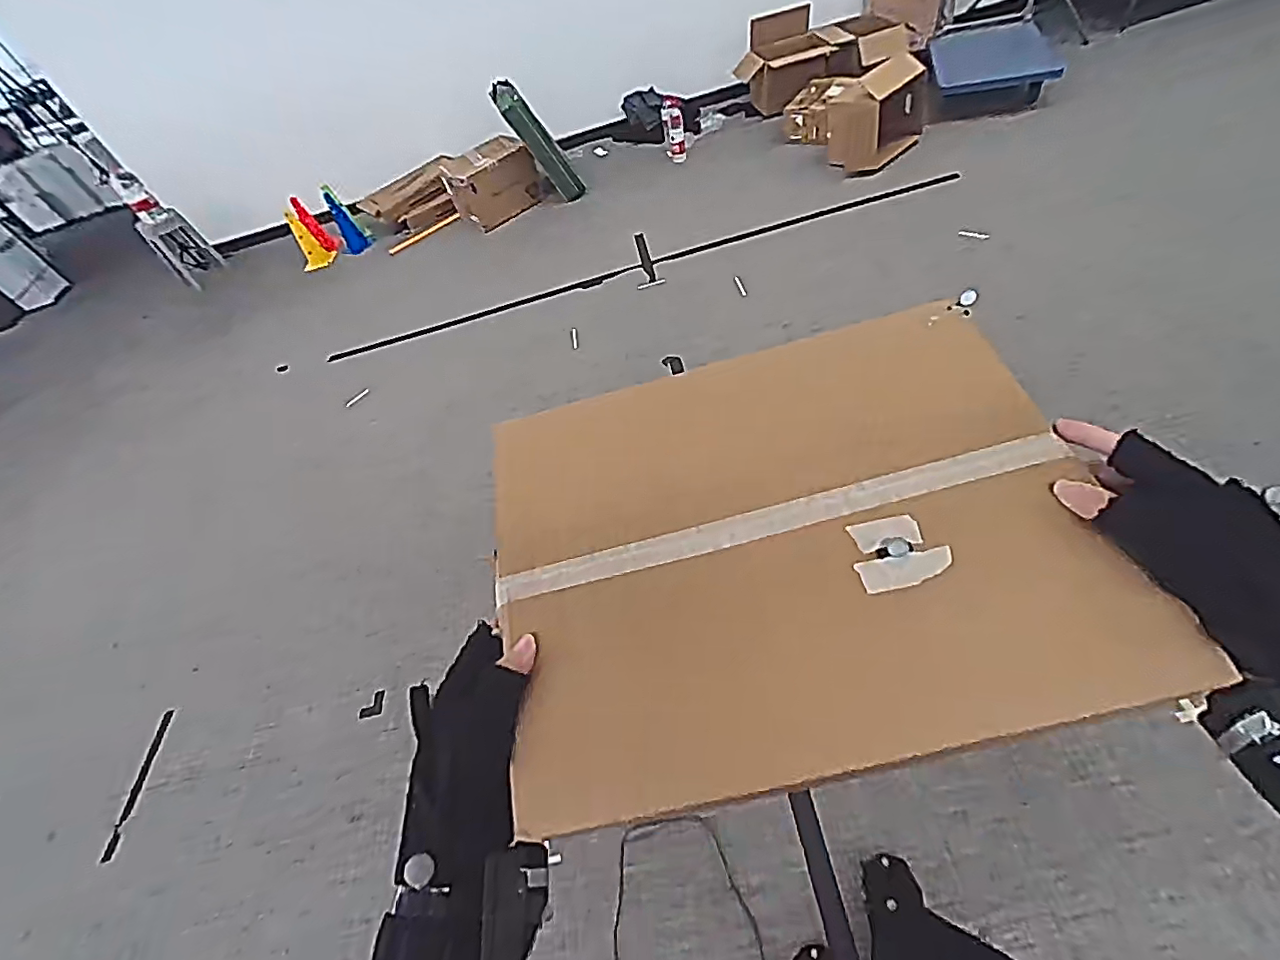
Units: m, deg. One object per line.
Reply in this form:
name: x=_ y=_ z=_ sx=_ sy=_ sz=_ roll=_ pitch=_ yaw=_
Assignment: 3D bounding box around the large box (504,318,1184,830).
large box: x=0.122 y=0.111 z=0.524 sx=0.408 sy=0.320 sz=0.320 roll=-15 pitch=58 yaw=3
